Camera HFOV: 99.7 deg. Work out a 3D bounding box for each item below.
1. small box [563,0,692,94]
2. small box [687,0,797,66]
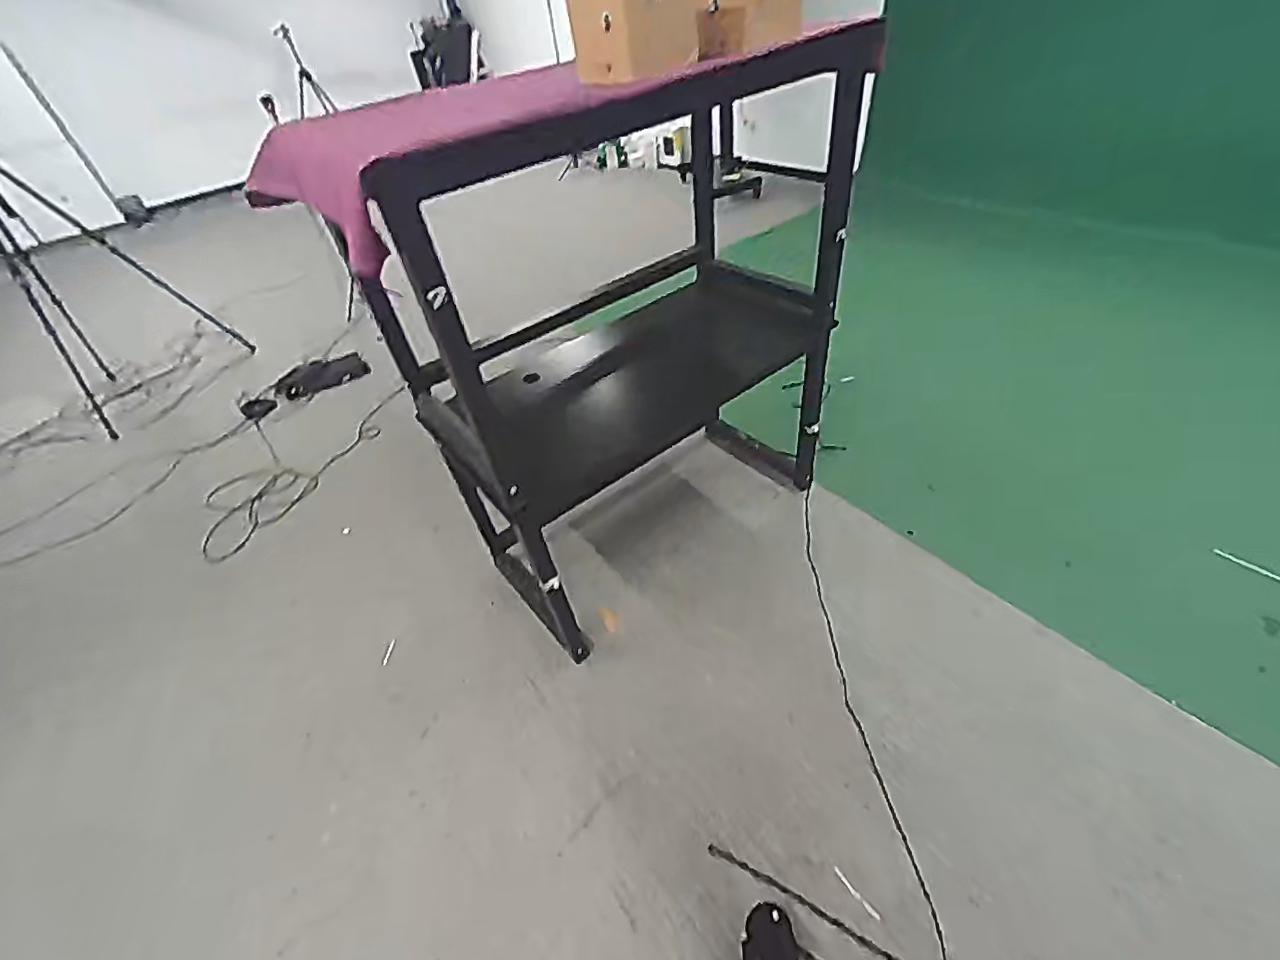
[{"bbox_3d":[-0.016,-0.841,1.015,0.179,0.176,0.168,-34,47,-25],"label":"small box"},{"bbox_3d":[0.213,-0.980,1.121,0.179,0.176,0.168,-34,49,-22],"label":"small box"}]
